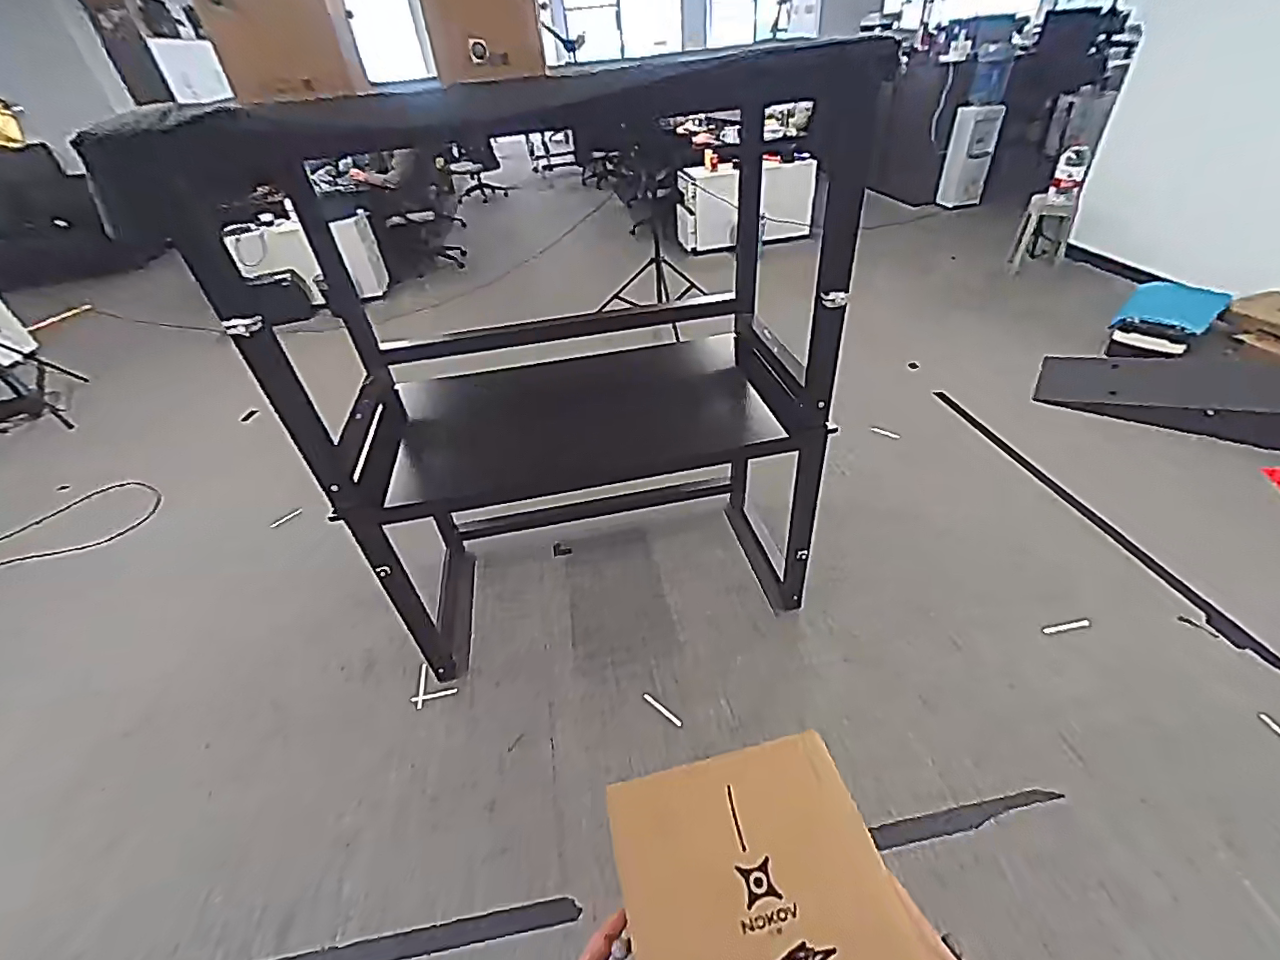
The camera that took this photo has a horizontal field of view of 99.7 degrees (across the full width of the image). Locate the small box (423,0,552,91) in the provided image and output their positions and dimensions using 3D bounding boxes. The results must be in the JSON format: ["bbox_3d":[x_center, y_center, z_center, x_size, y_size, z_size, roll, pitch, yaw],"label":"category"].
[{"bbox_3d":[-0.233,-0.711,0.835,0.168,0.176,0.179,-9,38,-3],"label":"small box"}]

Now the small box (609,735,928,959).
[{"bbox_3d":[0.078,0.318,0.382,0.168,0.176,0.179,-10,41,-9],"label":"small box"}]
